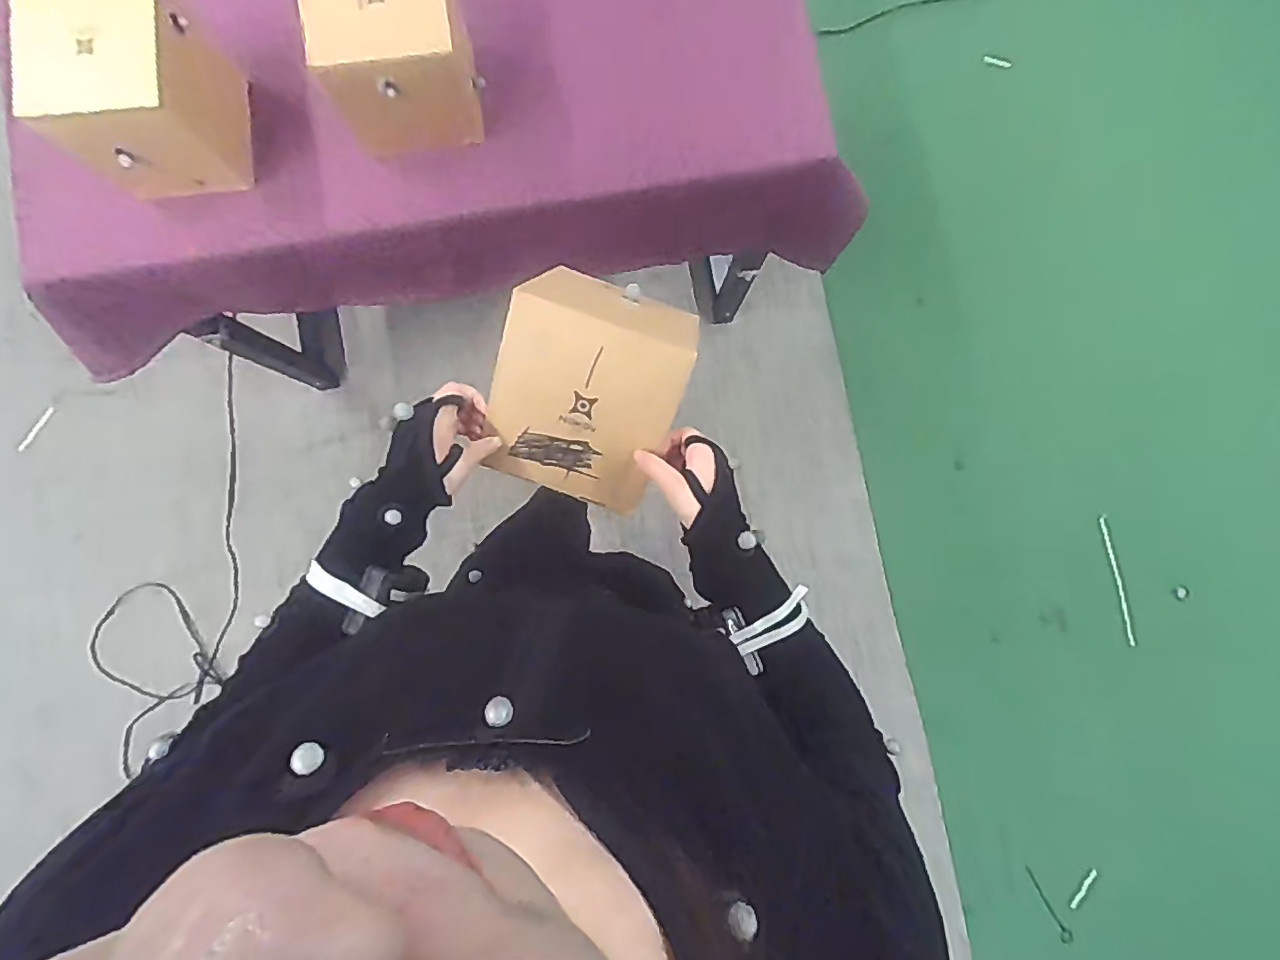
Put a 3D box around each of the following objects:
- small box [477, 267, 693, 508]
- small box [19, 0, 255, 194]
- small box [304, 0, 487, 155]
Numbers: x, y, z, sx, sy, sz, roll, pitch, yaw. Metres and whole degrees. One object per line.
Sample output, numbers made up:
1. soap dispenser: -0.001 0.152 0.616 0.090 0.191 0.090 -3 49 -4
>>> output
1. small box: -0.048 -0.104 0.564 0.168 0.176 0.179 19 116 -4
2. small box: -0.650 -0.507 0.719 0.168 0.176 0.179 -6 85 -2
3. small box: -0.322 -0.574 0.734 0.179 0.176 0.168 -8 86 -3
